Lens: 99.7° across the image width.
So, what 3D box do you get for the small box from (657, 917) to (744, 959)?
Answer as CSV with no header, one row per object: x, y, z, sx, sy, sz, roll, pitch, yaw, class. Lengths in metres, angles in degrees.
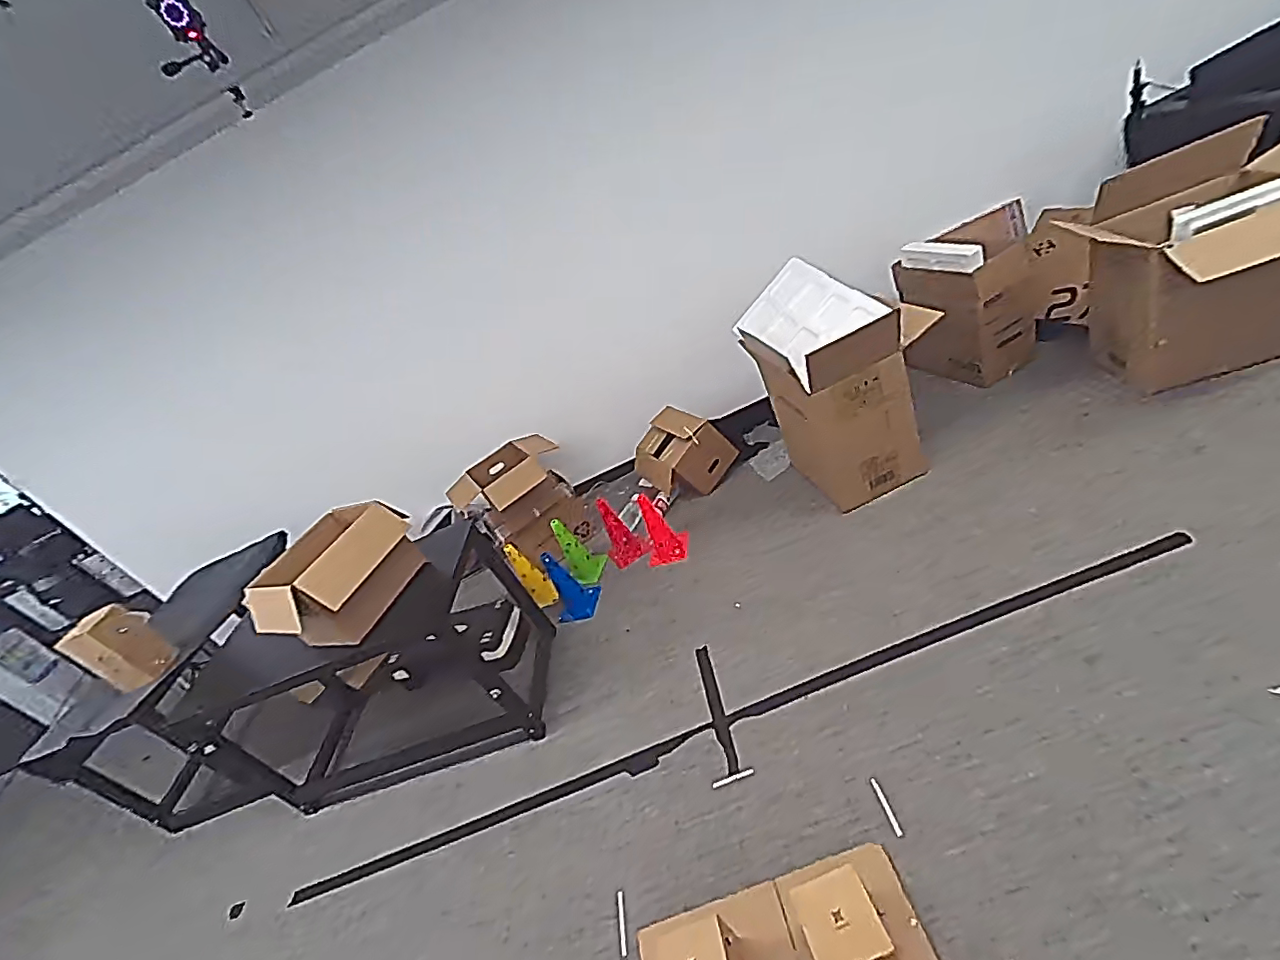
0.156,1.170,1.251,0.168,0.176,0.179,-26,30,5,small box

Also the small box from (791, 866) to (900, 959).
0.469,1.031,1.220,0.168,0.176,0.179,-27,29,2,small box
